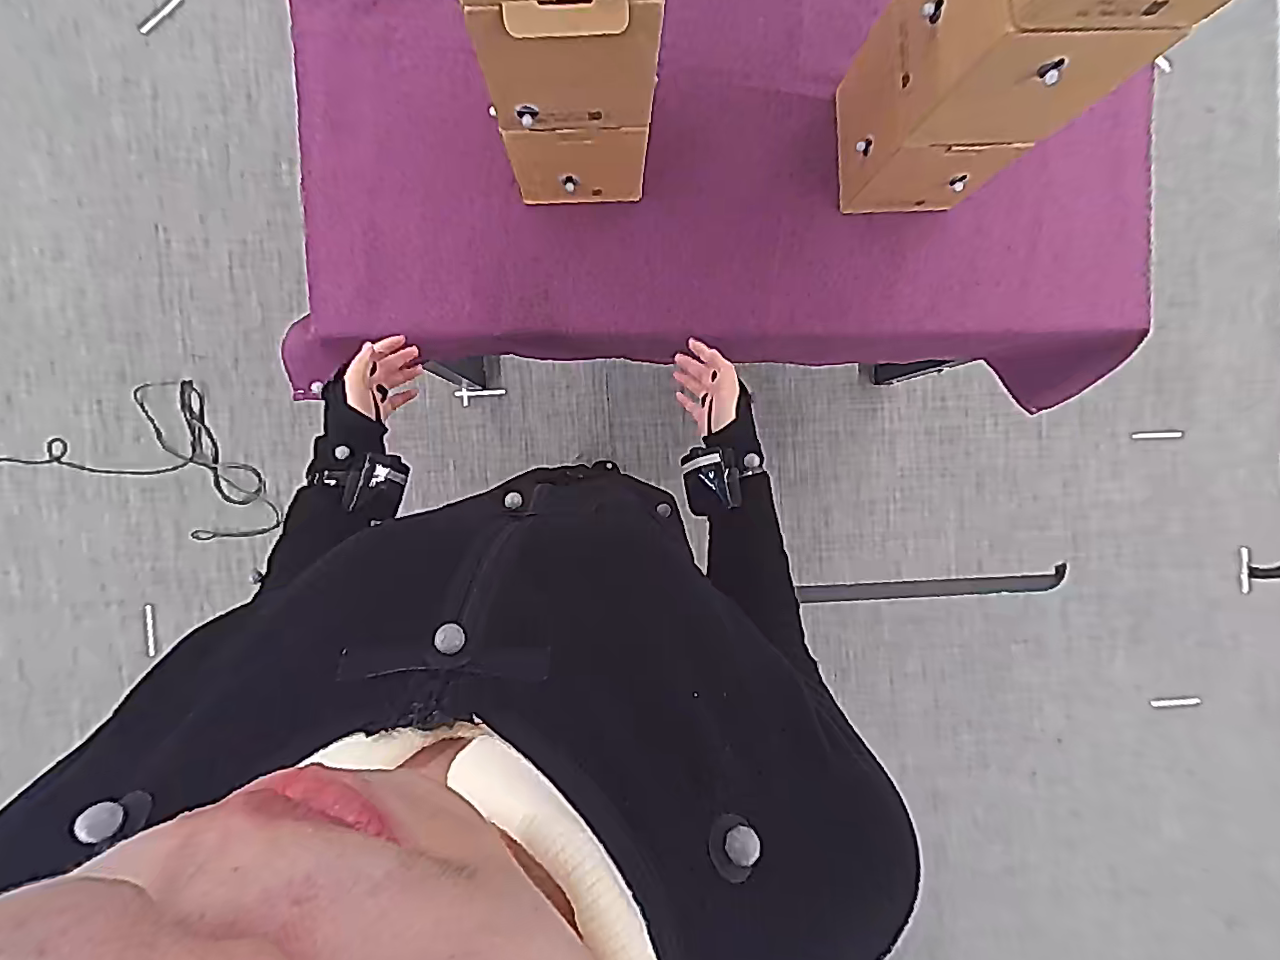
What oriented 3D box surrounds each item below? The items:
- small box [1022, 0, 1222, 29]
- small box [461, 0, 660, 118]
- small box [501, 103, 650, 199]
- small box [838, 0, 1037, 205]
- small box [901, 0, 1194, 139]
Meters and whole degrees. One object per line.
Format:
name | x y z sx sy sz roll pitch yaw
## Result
small box | 0.392 -0.464 0.368 0.168 0.176 0.179 -3 92 -3
small box | -0.071 -0.472 0.508 0.168 0.176 0.179 -5 92 -4
small box | -0.080 -0.478 0.672 0.168 0.176 0.179 -4 93 -3
small box | 0.369 -0.474 0.696 0.168 0.176 0.179 -3 92 -3
small box | 0.377 -0.464 0.532 0.179 0.176 0.168 -4 93 -4
